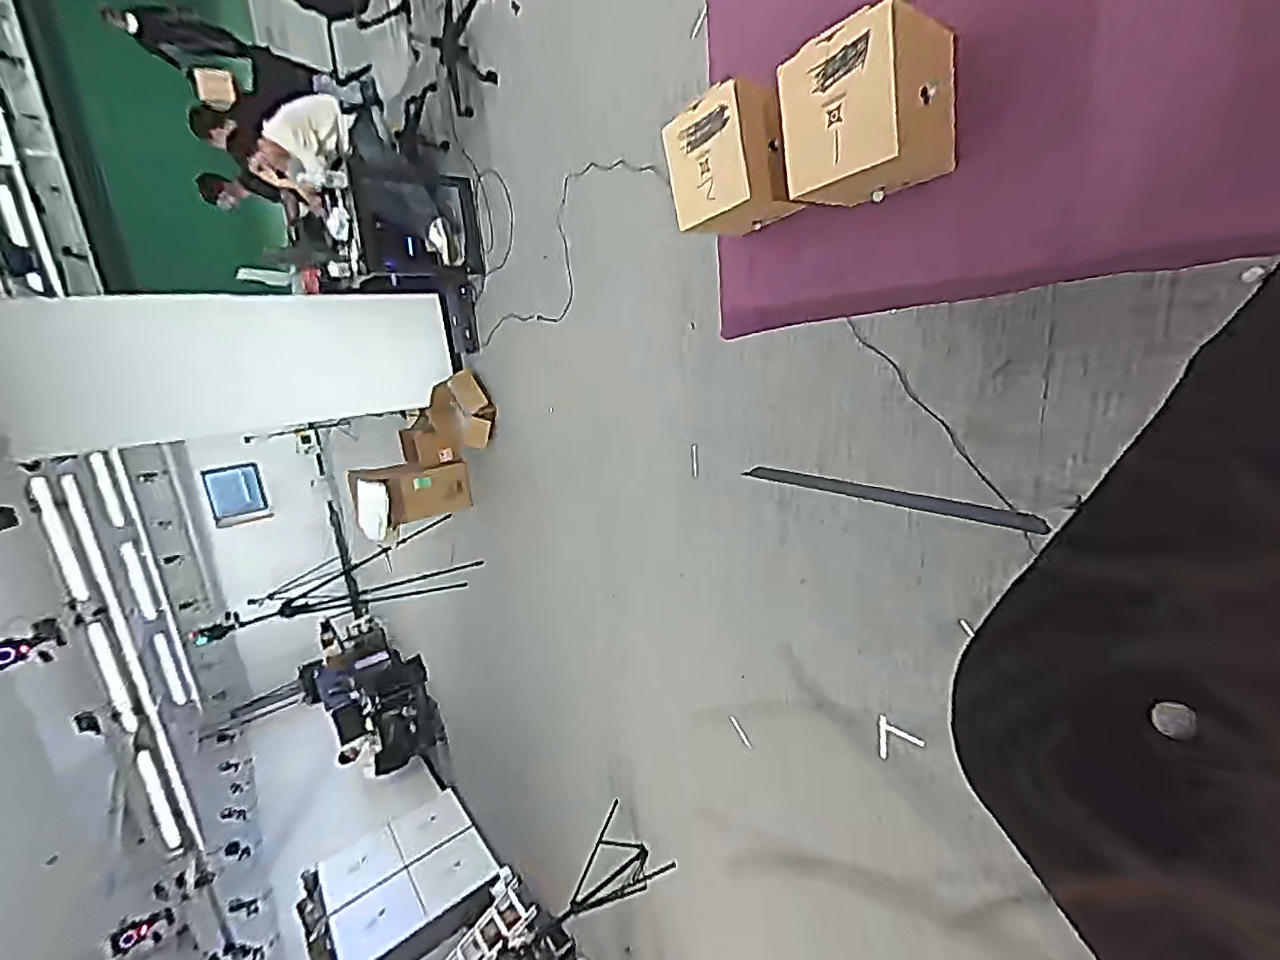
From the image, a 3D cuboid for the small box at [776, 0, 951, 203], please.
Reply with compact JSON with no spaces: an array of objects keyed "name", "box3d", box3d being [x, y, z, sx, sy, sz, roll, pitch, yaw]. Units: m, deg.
[{"name":"small box","box3d":[0.314,-0.508,0.757,0.168,0.176,0.179,7,110,52]}]
